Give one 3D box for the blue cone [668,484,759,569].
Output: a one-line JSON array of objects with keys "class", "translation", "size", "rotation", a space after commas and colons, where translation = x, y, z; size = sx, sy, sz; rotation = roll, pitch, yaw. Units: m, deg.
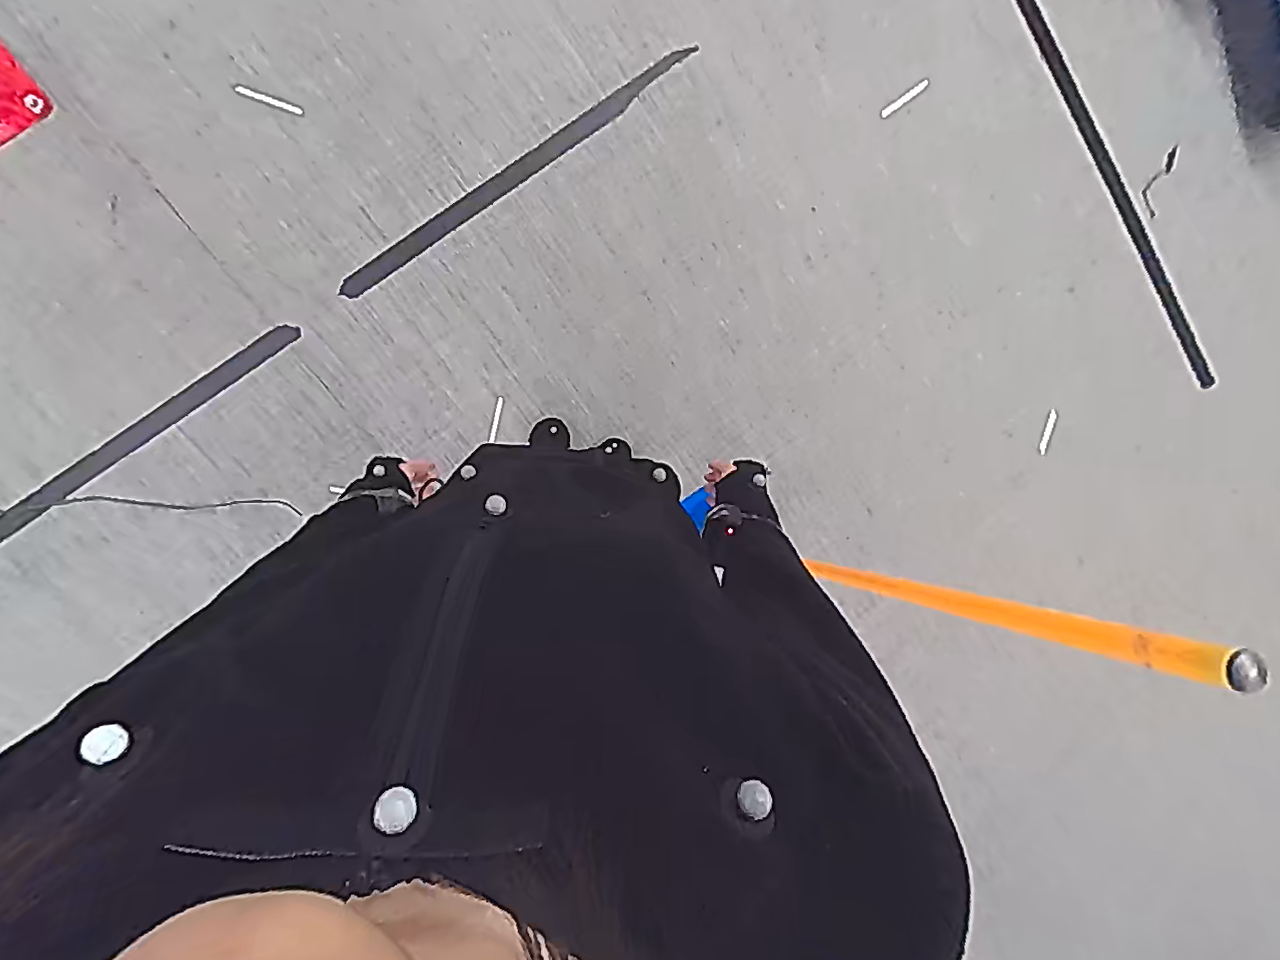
[{"class": "blue cone", "translation": [0.217, 0.143, 1.319], "size": [0.192, 0.380, 0.193], "rotation": [-33, 100, -2]}]
